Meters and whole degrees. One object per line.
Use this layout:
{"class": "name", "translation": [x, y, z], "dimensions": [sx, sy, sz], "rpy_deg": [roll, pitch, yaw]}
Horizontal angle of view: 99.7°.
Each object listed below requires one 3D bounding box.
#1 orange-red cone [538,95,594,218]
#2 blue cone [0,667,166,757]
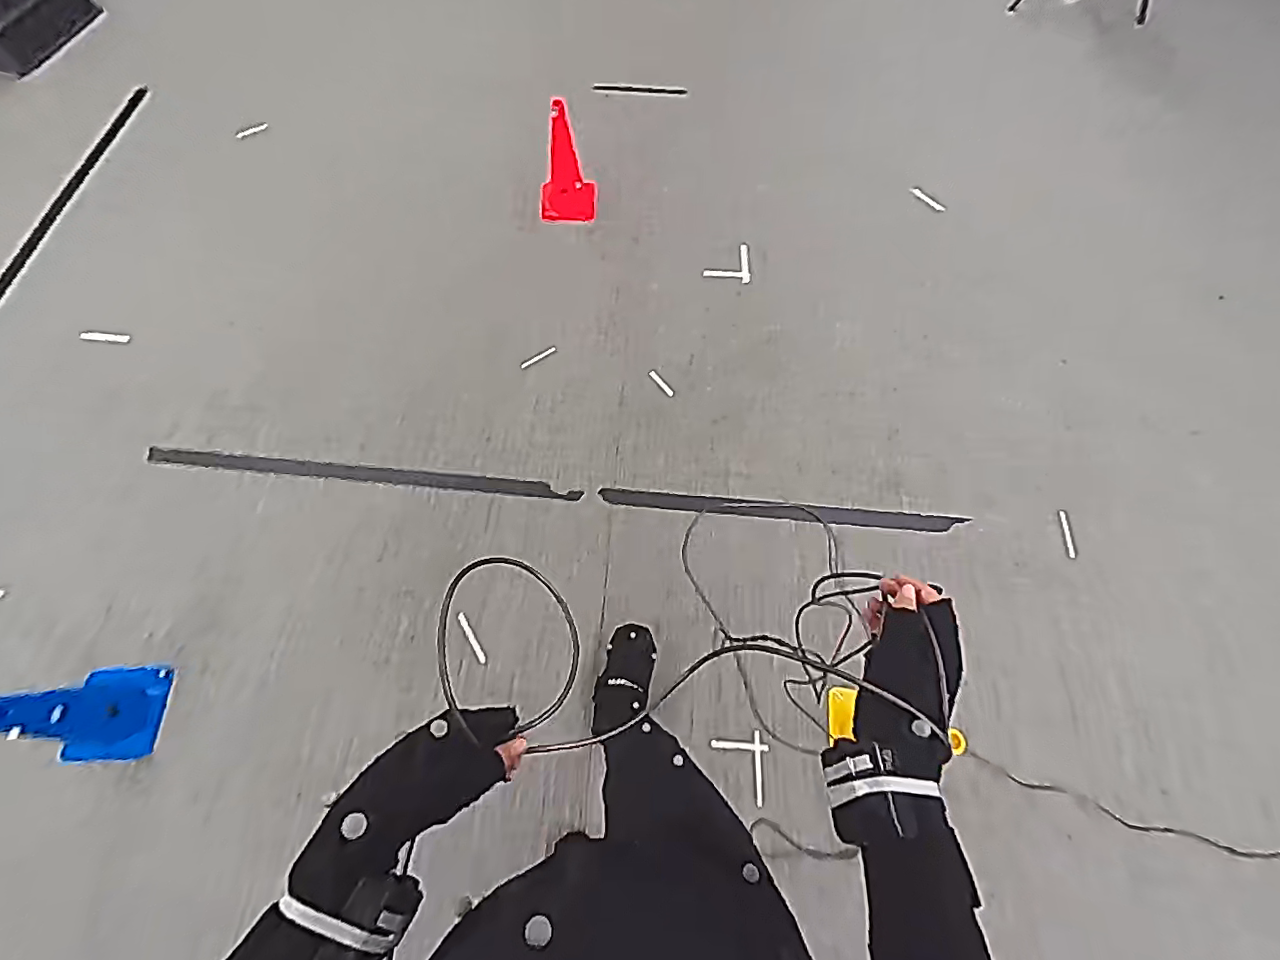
{"class": "orange-red cone", "translation": [-0.270, -1.092, 1.810], "dimensions": [0.199, 0.360, 0.198], "rpy_deg": [0, 66, 0]}
{"class": "blue cone", "translation": [-1.218, 0.468, 1.105], "dimensions": [0.193, 0.380, 0.192], "rpy_deg": [0, 66, -1]}
